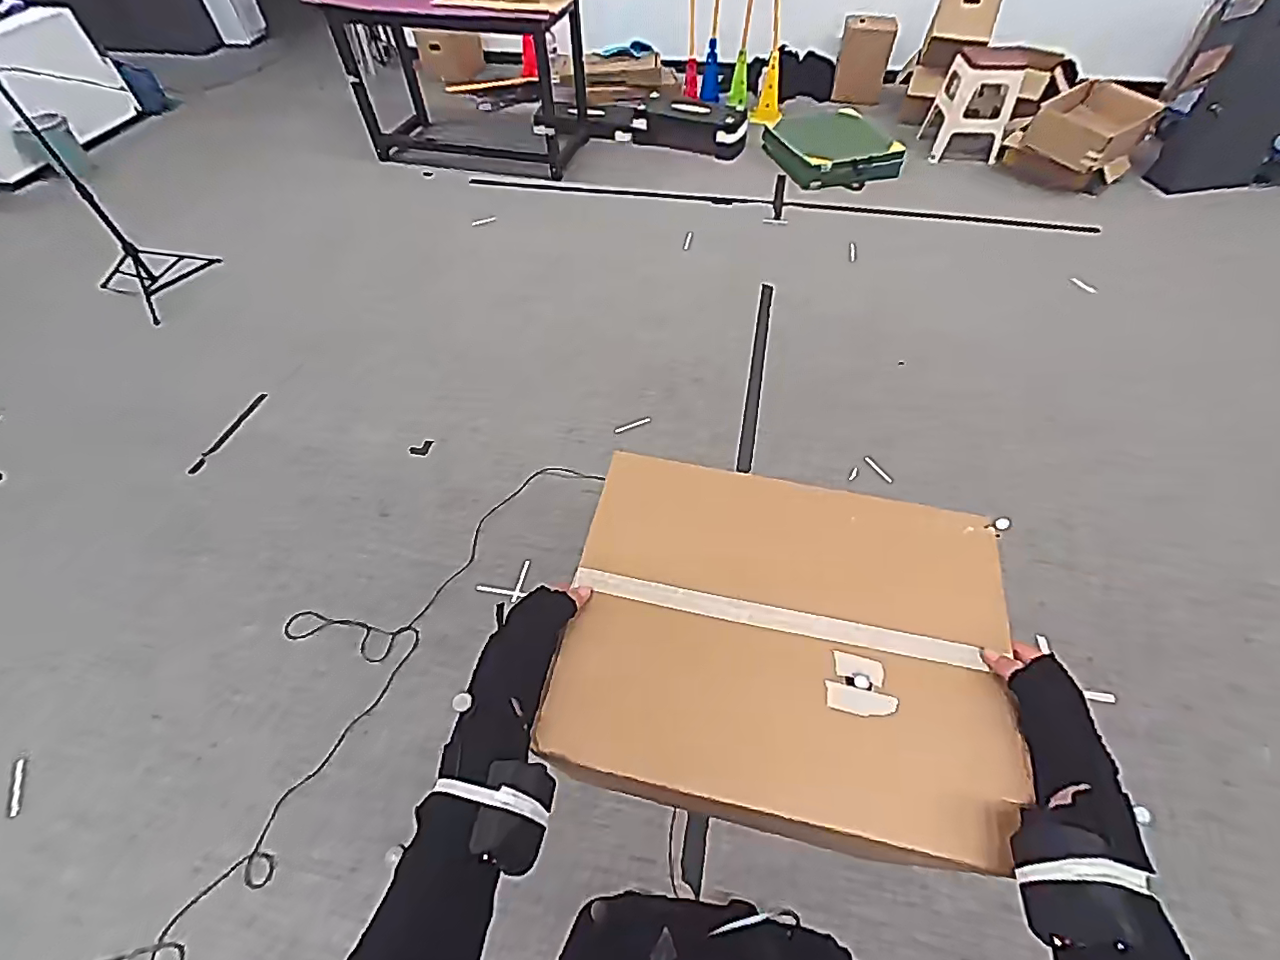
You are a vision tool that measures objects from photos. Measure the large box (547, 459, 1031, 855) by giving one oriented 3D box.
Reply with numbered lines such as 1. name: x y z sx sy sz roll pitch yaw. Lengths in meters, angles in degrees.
1. large box: 0.140 0.213 0.643 0.408 0.320 0.320 11 59 6
